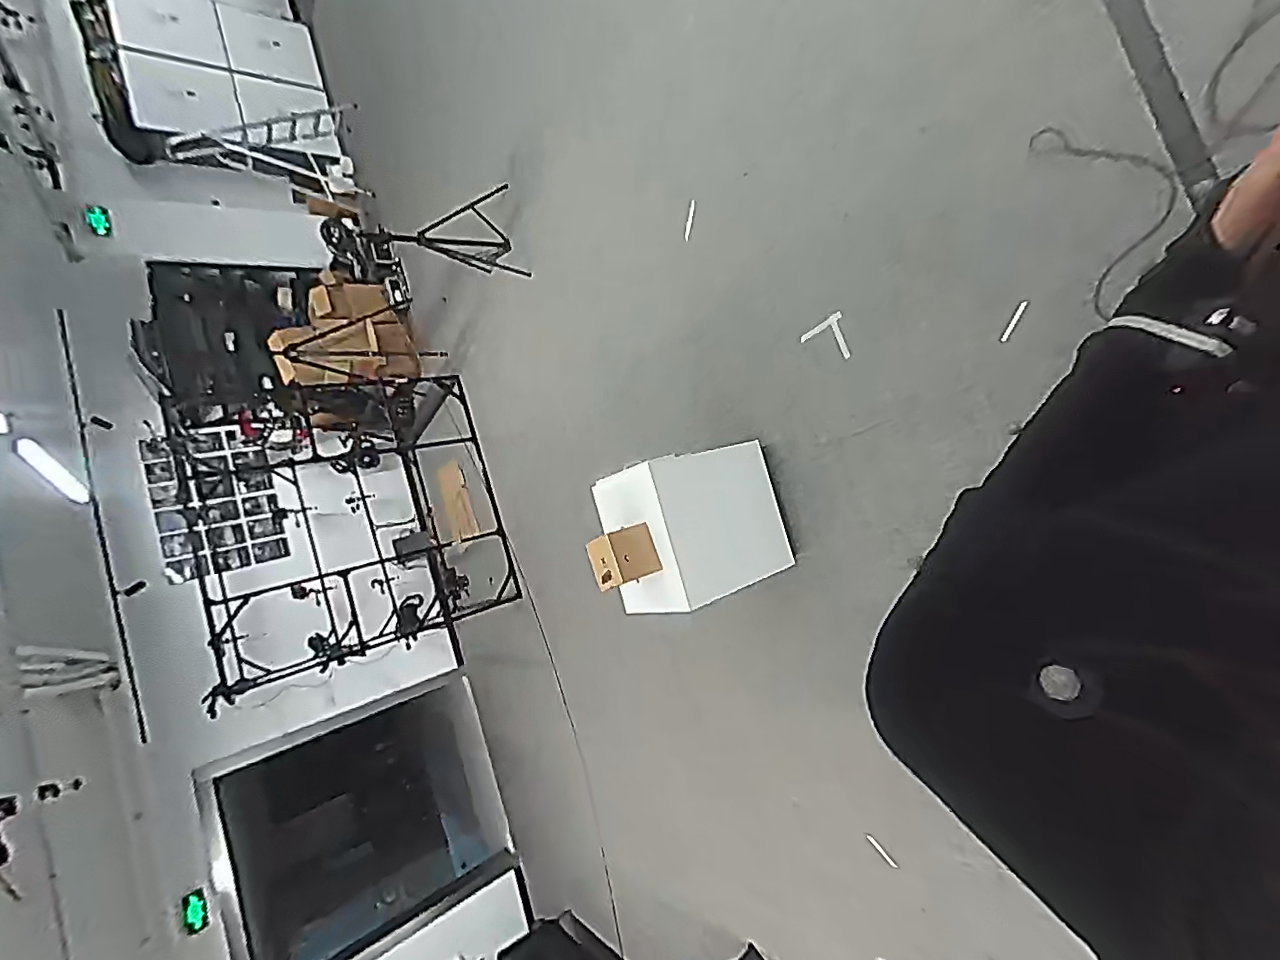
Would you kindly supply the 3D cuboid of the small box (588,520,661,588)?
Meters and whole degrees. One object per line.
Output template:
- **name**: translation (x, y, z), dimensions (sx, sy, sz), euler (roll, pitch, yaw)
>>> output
- **small box**: translation (-0.051, 0.254, 1.864), dimensions (0.168, 0.176, 0.179), euler (-33, 73, 53)
